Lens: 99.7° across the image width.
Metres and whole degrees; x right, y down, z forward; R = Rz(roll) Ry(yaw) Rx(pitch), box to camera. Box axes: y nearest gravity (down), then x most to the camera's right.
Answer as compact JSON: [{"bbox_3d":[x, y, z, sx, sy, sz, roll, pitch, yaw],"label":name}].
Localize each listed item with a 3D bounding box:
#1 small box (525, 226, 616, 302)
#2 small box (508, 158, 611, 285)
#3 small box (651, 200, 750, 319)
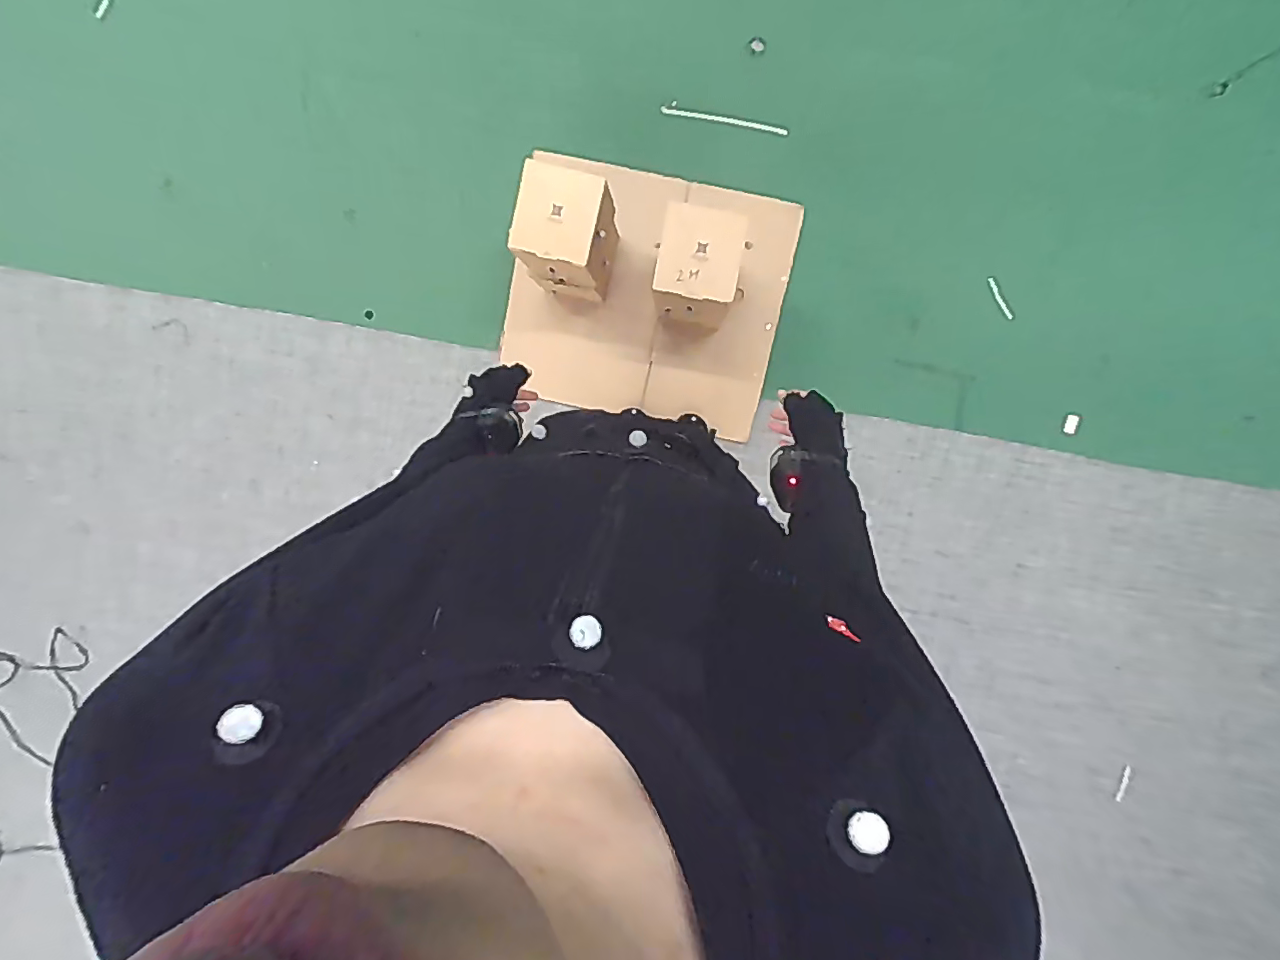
[{"bbox_3d":[-0.160,-0.545,1.304,0.168,0.176,0.179,14,97,2],"label":"small box"},{"bbox_3d":[-0.161,-0.535,1.142,0.168,0.176,0.179,15,98,1],"label":"small box"},{"bbox_3d":[0.122,-0.453,1.136,0.168,0.176,0.179,12,97,2],"label":"small box"}]
